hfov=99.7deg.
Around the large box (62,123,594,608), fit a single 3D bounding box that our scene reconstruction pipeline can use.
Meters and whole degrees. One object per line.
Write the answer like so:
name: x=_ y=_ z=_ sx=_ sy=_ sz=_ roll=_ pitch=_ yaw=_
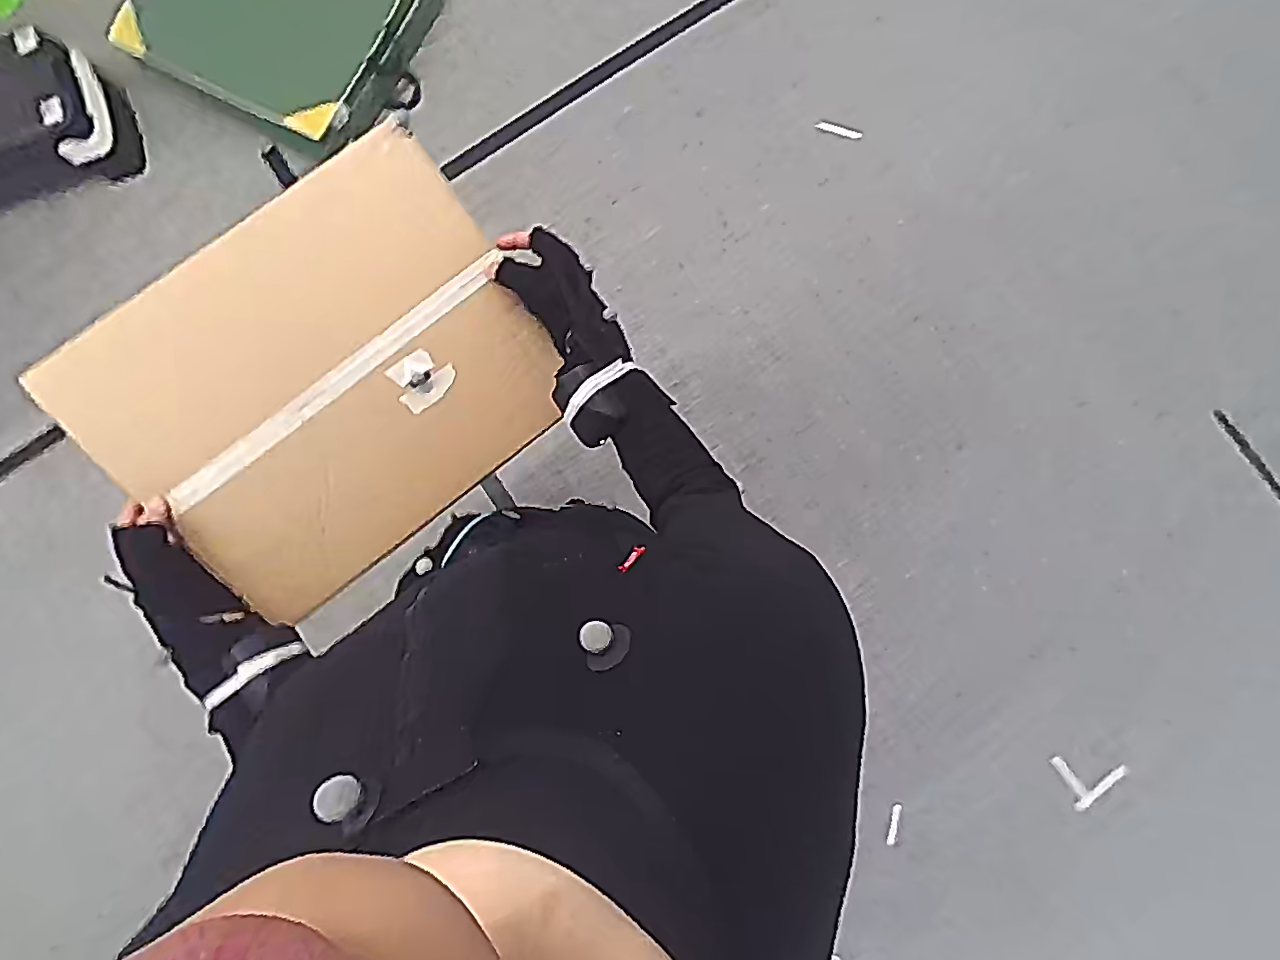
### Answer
large box: x=-0.316 y=-0.120 z=0.681 sx=0.408 sy=0.320 sz=0.320 roll=-38 pitch=102 yaw=-5
